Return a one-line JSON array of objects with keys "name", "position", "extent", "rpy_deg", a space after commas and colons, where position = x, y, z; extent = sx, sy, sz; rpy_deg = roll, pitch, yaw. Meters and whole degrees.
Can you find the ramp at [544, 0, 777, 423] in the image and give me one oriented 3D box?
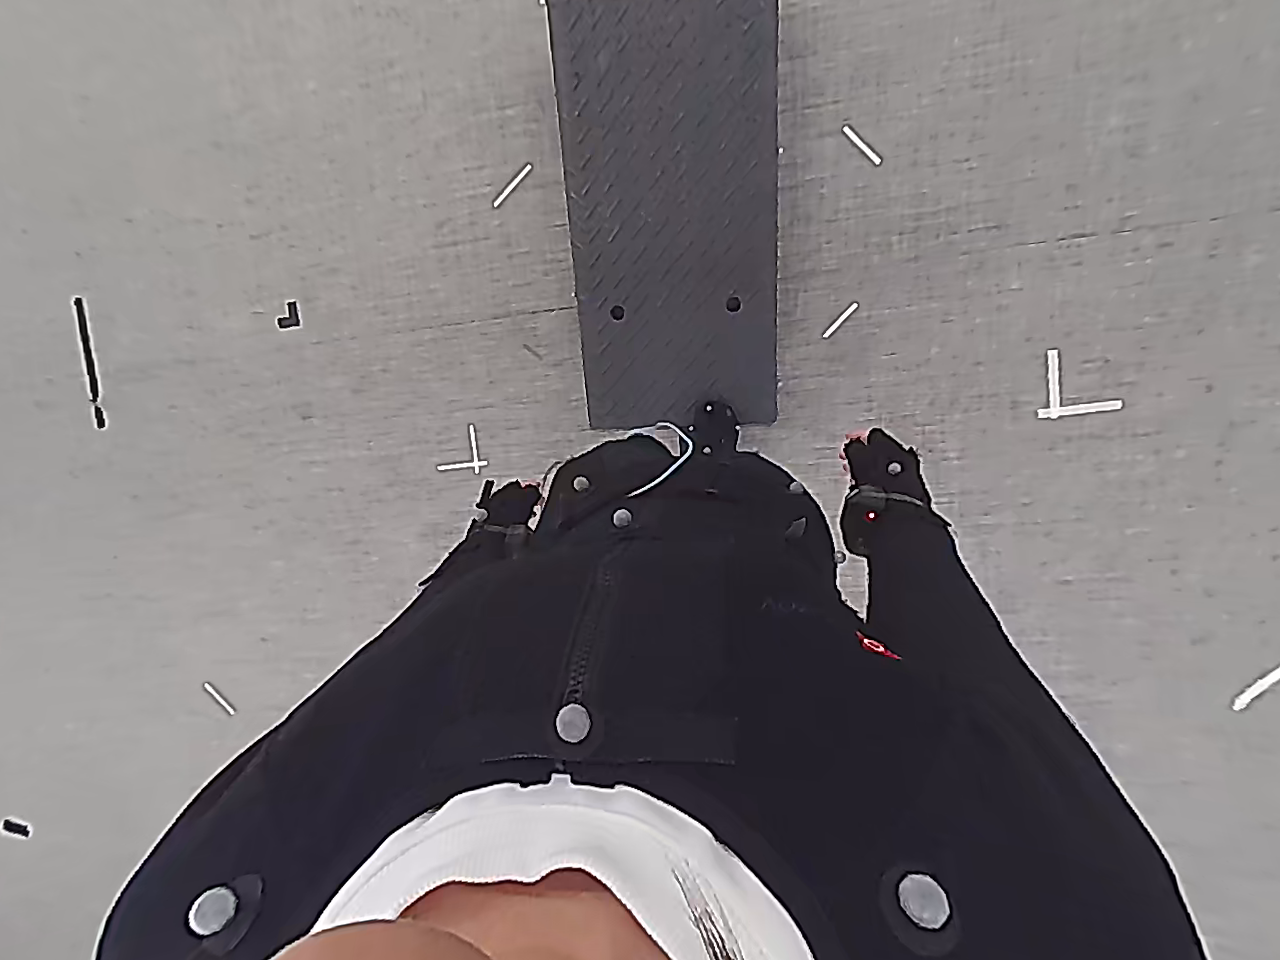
[{"name": "ramp", "position": [0.069, -0.631, 1.259], "extent": [0.509, 0.206, 0.991], "rpy_deg": [-3, 98, 9]}]
